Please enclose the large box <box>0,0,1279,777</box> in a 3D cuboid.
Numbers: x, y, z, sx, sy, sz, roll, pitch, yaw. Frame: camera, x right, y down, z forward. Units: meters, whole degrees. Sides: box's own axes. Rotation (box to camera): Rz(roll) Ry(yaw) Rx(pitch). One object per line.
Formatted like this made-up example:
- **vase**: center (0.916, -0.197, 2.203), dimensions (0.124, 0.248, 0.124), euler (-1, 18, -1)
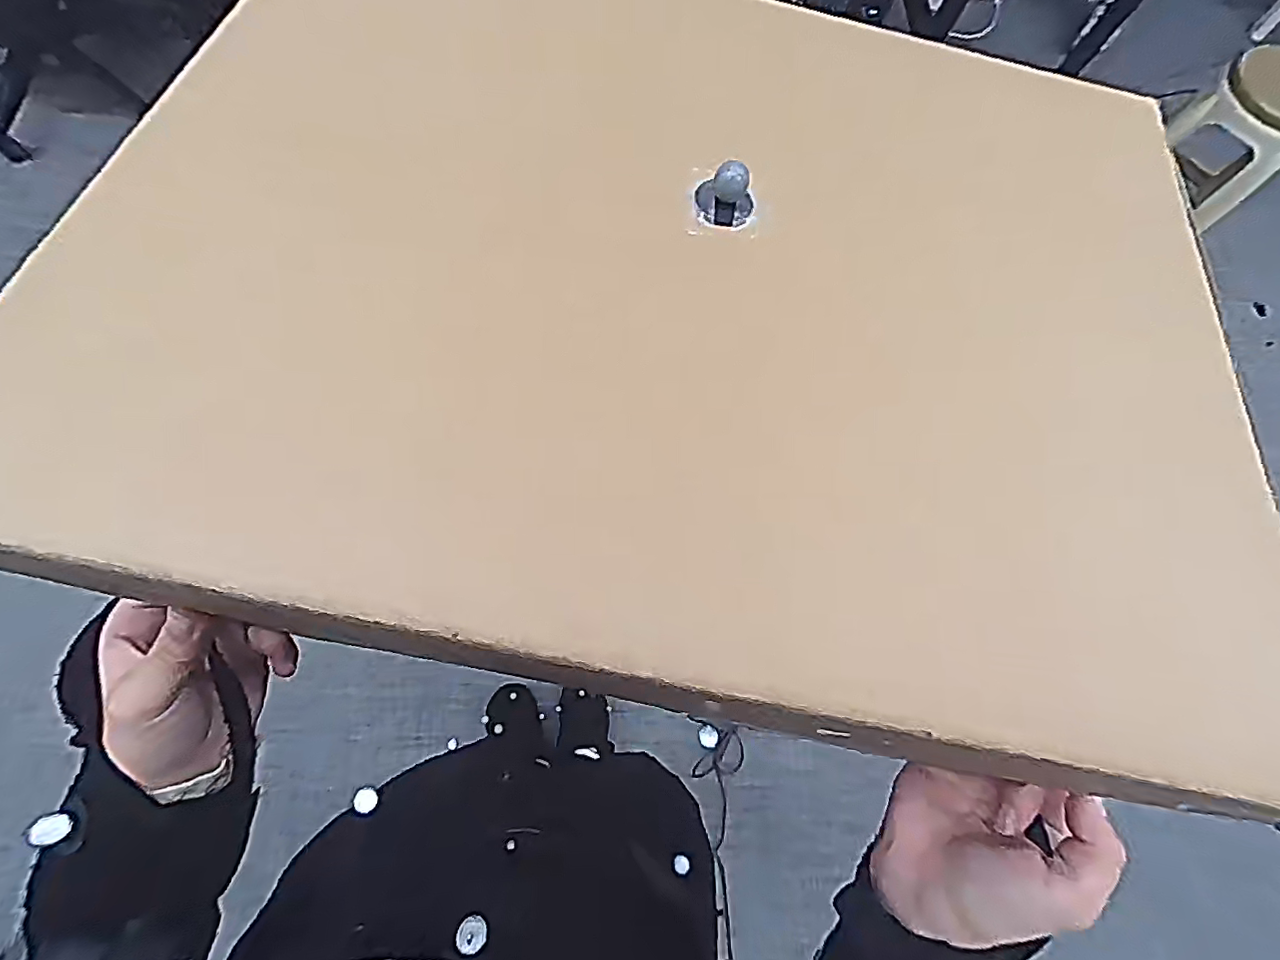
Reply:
- **large box**: center (0.009, -0.042, 0.334), dimensions (0.408, 0.320, 0.320), euler (12, 69, -2)
